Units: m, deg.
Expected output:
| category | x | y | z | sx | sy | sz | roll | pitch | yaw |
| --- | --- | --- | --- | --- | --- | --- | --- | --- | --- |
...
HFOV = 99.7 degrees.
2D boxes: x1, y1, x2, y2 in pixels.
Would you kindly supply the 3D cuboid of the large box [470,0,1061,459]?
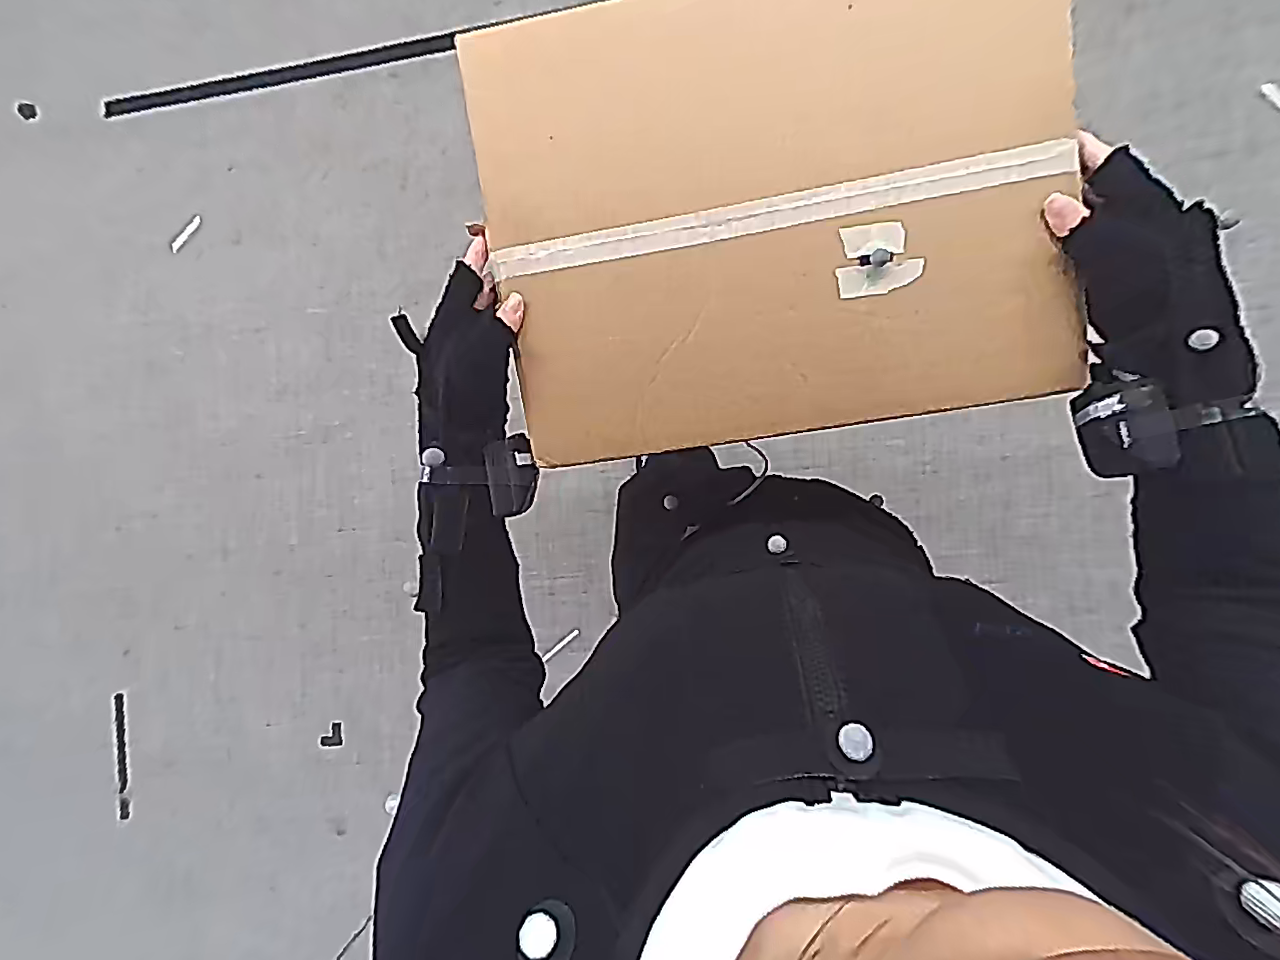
| category | x | y | z | sx | sy | sz | roll | pitch | yaw |
| --- | --- | --- | --- | --- | --- | --- | --- | --- | --- |
| large box | 0.101 | -0.217 | 0.545 | 0.408 | 0.320 | 0.320 | -9 | 98 | 5 |
